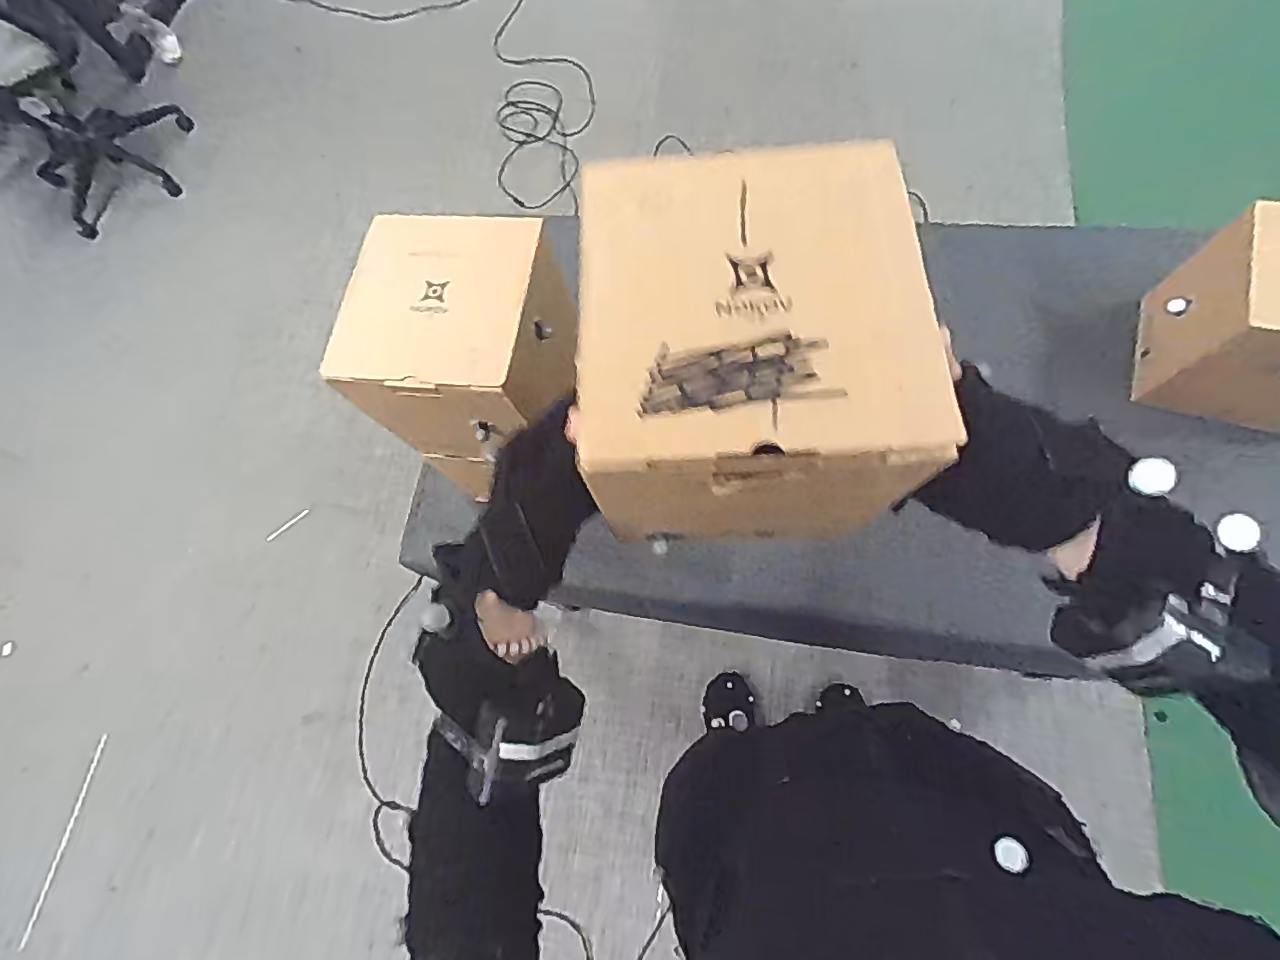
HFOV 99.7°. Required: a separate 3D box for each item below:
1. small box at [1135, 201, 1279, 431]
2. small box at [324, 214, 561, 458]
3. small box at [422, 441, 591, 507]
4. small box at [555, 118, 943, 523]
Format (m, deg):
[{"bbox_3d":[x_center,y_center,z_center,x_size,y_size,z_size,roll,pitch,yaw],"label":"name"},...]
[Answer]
[{"bbox_3d":[0.716,-0.174,0.610,0.179,0.176,0.168,18,75,13],"label":"small box"},{"bbox_3d":[-0.166,-0.133,0.541,0.168,0.176,0.179,6,71,8],"label":"small box"},{"bbox_3d":[-0.146,-0.078,0.694,0.168,0.176,0.179,4,71,8],"label":"small box"},{"bbox_3d":[0.049,-0.073,0.328,0.168,0.176,0.179,-2,72,3],"label":"small box"}]
